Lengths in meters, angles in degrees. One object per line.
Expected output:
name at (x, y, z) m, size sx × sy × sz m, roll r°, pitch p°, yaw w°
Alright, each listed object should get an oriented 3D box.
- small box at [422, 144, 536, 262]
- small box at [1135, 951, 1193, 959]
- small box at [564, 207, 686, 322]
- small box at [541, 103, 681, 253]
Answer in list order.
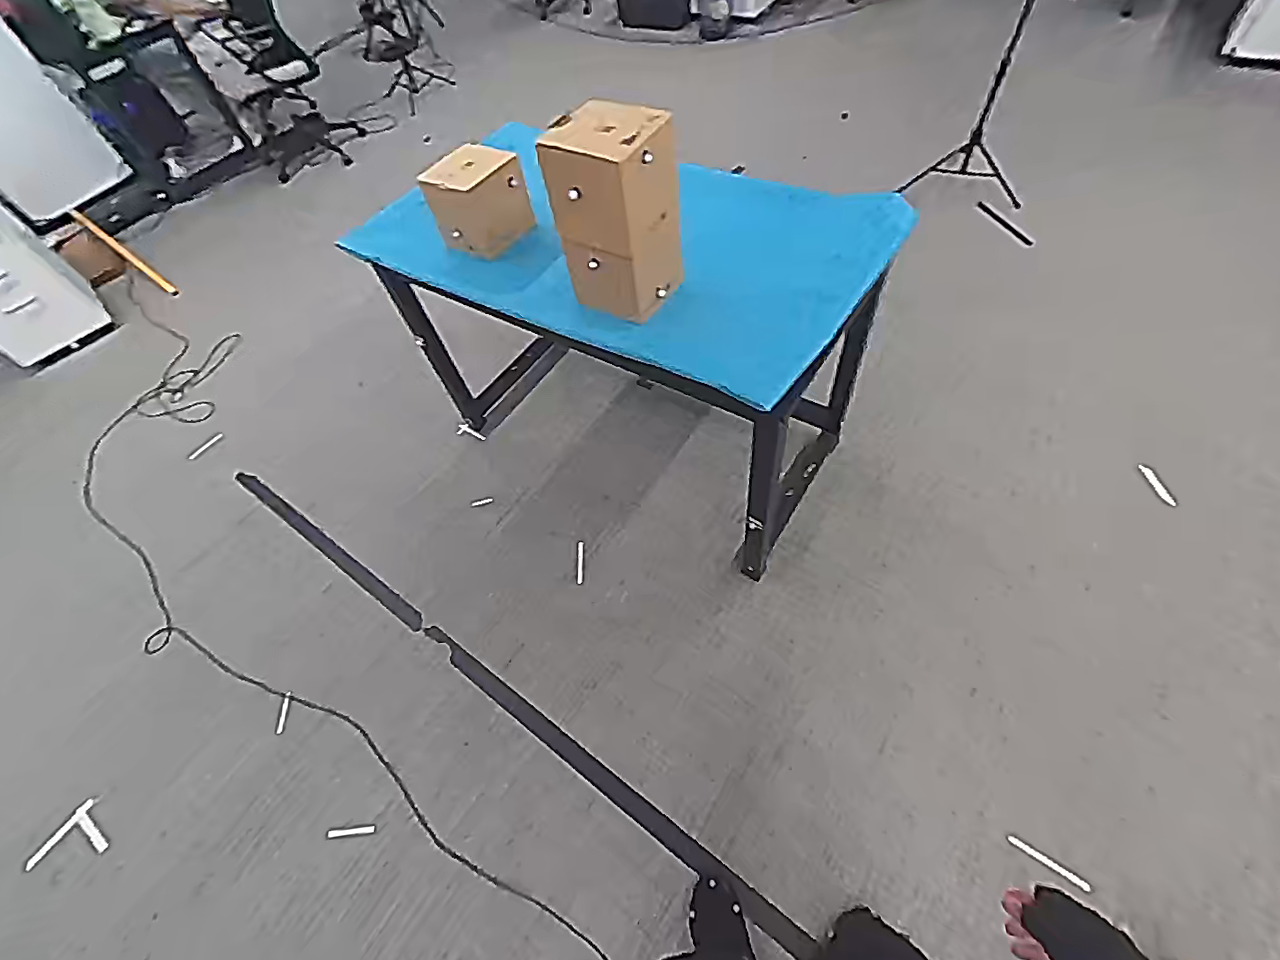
small box at (-0.369, -0.658, 1.287) m, size 0.168 × 0.176 × 0.179 m, roll 29°, pitch 67°, yaw 26°
small box at (0.951, 0.931, 0.895) m, size 0.179 × 0.176 × 0.168 m, roll 26°, pitch 65°, yaw 23°
small box at (-0.022, -0.447, 1.092) m, size 0.179 × 0.176 × 0.168 m, roll 26°, pitch 65°, yaw 24°
small box at (-0.041, -0.528, 0.952) m, size 0.179 × 0.176 × 0.168 m, roll 23°, pitch 63°, yaw 21°
